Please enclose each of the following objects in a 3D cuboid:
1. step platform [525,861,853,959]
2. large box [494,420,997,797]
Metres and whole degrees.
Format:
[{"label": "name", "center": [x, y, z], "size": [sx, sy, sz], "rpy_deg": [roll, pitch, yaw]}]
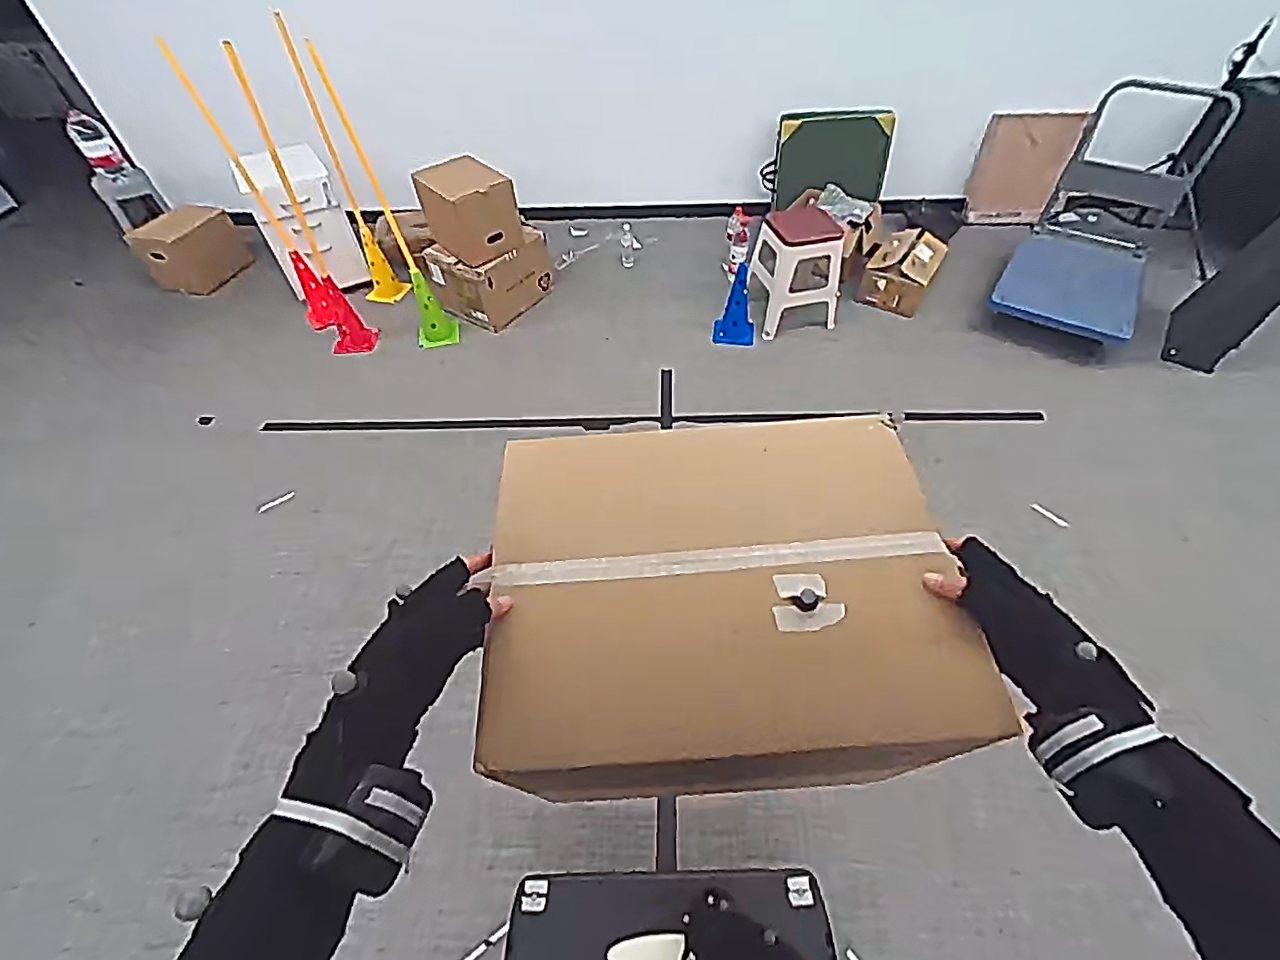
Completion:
[{"label": "step platform", "center": [0.098, 1.004, 1.163], "size": [0.684, 0.204, 0.286], "rpy_deg": [-1, 50, 0]}, {"label": "large box", "center": [0.076, 0.159, 0.623], "size": [0.408, 0.320, 0.320], "rpy_deg": [-4, 56, 0]}]
